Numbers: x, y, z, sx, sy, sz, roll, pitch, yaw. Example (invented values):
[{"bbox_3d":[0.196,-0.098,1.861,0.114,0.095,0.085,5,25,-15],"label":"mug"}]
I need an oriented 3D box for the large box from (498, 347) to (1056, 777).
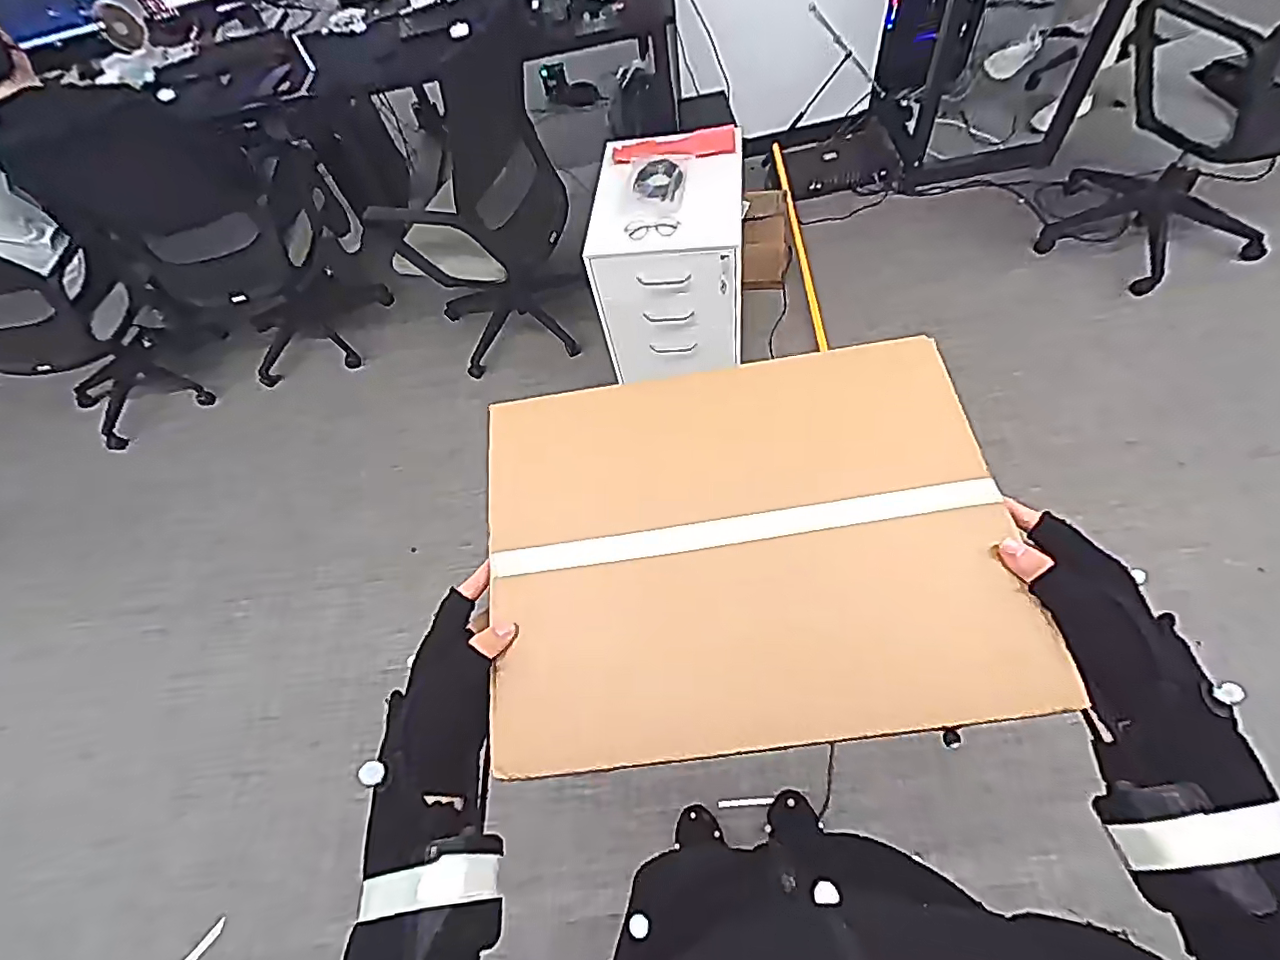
[{"bbox_3d":[0.097,0.105,0.580,0.408,0.320,0.320,-9,65,4],"label":"large box"}]
